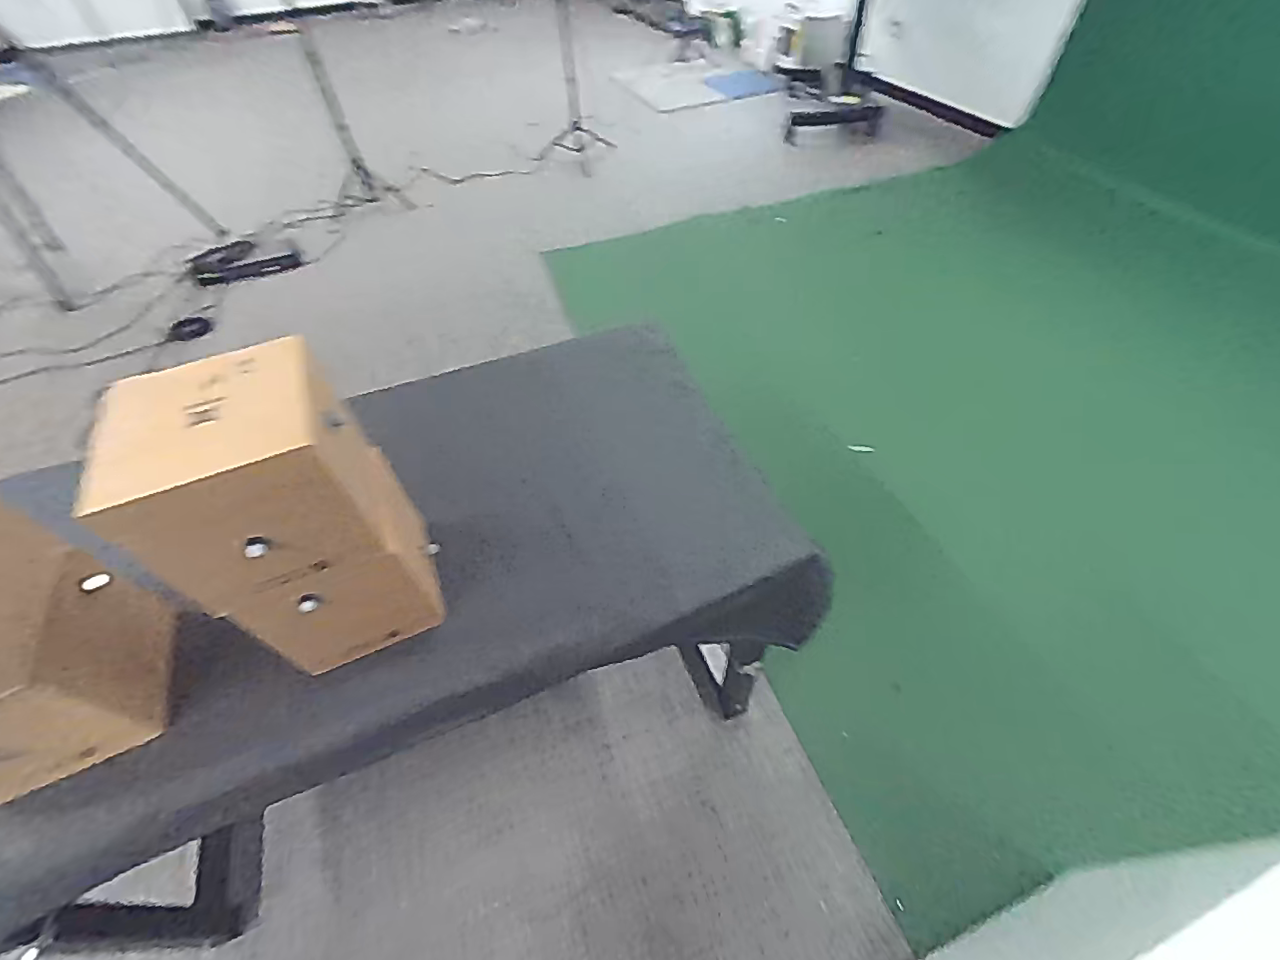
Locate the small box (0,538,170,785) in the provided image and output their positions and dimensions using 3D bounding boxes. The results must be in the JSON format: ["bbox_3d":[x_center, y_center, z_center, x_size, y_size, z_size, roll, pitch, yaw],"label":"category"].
[{"bbox_3d":[-0.652,0.199,0.578,0.168,0.176,0.179,-22,52,-15],"label":"small box"}]

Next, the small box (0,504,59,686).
[{"bbox_3d":[-0.657,0.097,0.453,0.168,0.176,0.179,-22,51,-17],"label":"small box"}]

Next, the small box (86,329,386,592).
[{"bbox_3d":[-0.367,-0.012,0.528,0.168,0.176,0.179,-20,52,-15],"label":"small box"}]

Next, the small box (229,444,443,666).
[{"bbox_3d":[-0.357,0.091,0.658,0.168,0.176,0.179,-20,51,-14],"label":"small box"}]
